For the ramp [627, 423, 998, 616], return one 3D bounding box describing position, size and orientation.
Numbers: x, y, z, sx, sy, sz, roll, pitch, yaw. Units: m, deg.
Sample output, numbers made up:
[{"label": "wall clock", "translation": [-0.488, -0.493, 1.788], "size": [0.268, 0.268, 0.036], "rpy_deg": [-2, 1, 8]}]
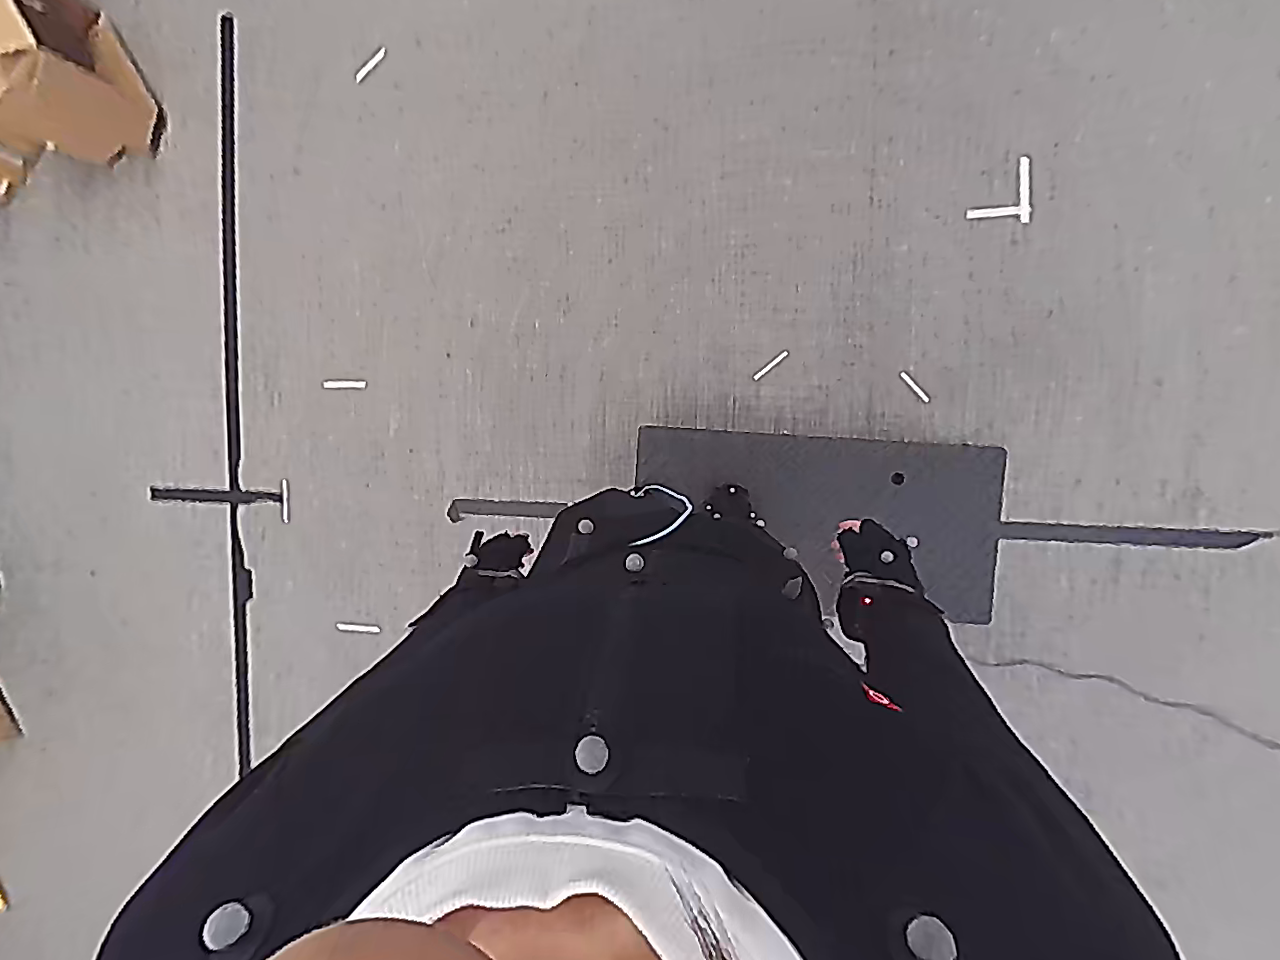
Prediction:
[{"label": "ramp", "translation": [0.470, 0.111, 1.469], "size": [0.991, 0.206, 0.509], "rpy_deg": [2, 92, 8]}]
